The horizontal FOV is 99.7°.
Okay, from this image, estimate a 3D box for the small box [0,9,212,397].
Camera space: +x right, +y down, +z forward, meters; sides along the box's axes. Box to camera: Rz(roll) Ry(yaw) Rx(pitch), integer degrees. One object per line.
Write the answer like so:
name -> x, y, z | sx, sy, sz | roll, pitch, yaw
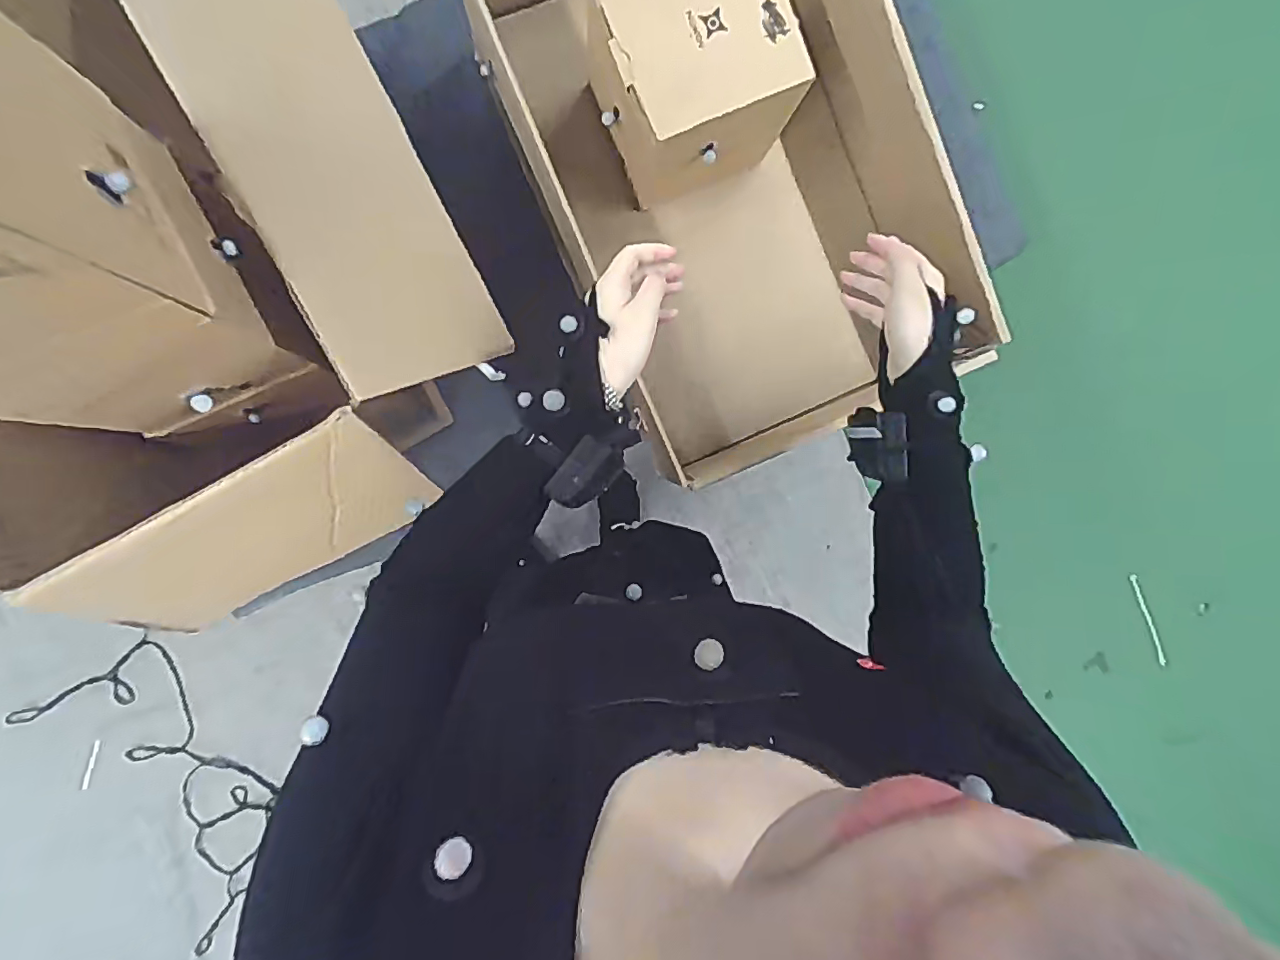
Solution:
small box -> -0.393, -0.150, 0.285 | 0.179, 0.176, 0.168 | -25, 95, -8
